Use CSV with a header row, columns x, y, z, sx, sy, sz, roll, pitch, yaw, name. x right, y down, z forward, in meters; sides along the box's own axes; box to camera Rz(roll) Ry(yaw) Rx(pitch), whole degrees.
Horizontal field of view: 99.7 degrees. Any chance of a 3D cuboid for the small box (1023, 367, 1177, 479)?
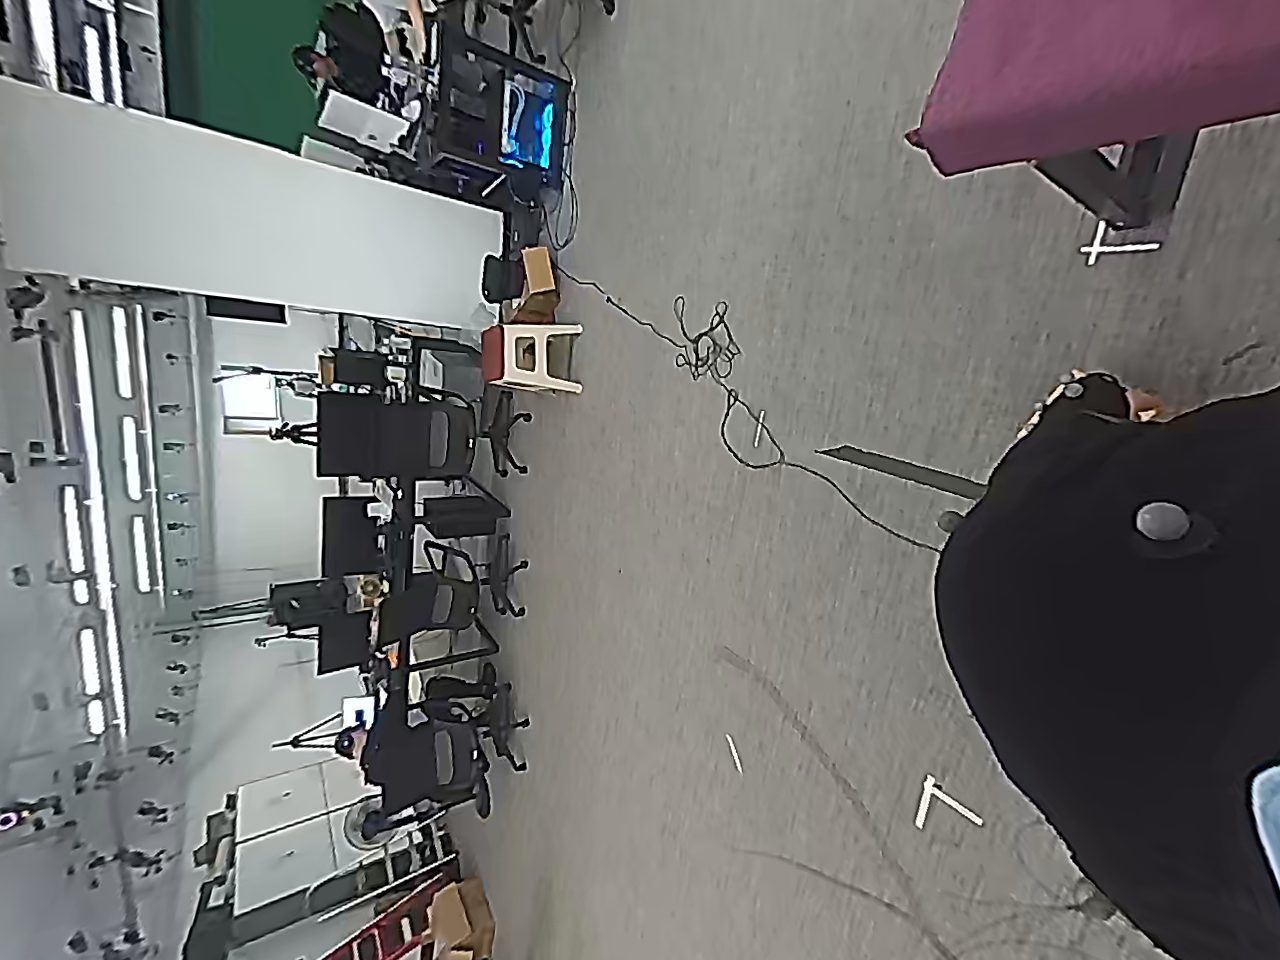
x,y,z,sx,sy,sz,roll,pitch,yaw,name
0.982,-0.119,1.153,0.168,0.176,0.179,52,131,39,small box
